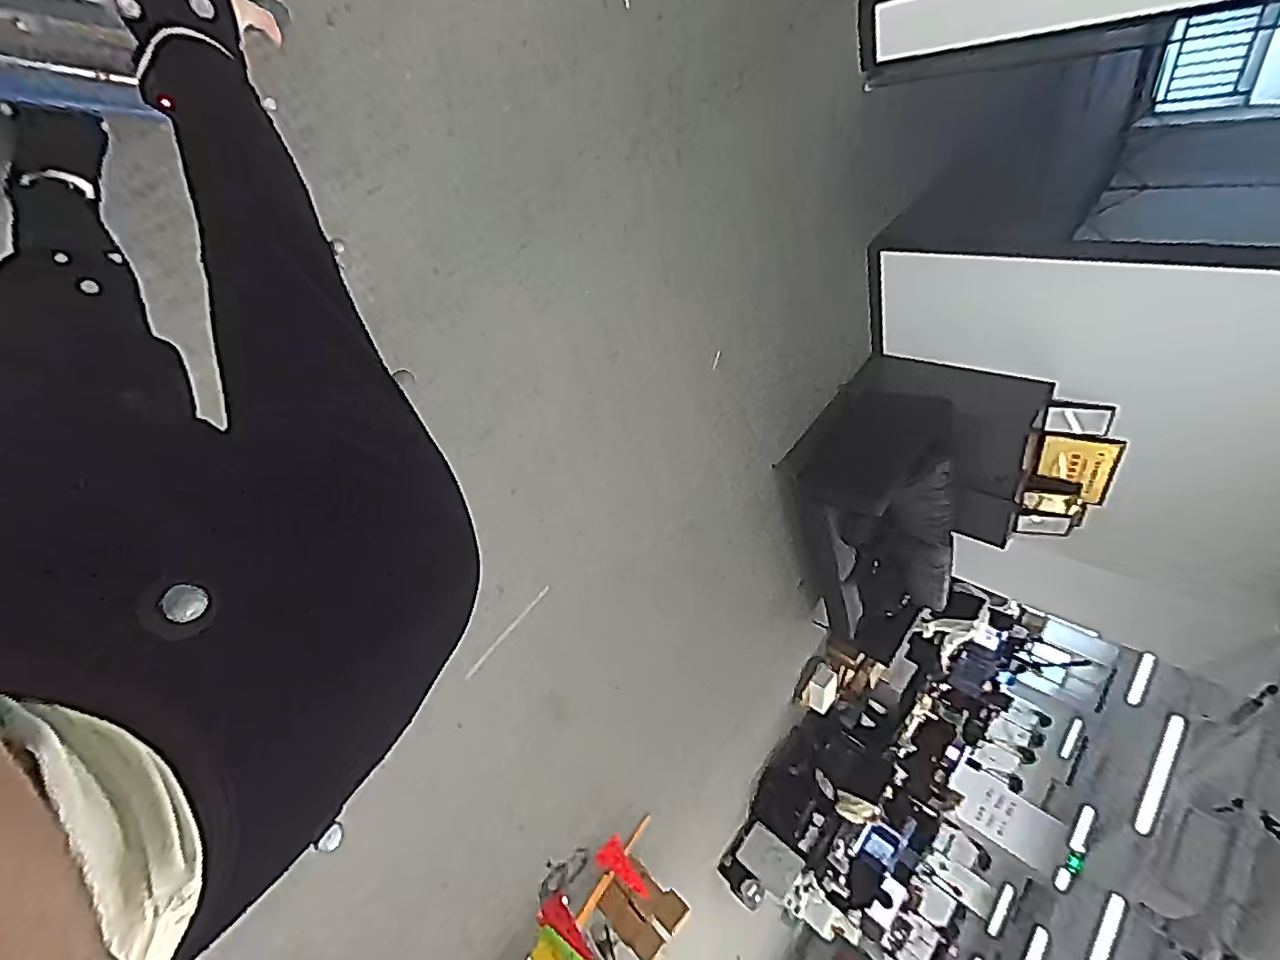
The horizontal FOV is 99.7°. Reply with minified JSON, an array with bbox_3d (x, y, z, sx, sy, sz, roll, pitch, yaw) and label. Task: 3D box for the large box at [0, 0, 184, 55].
[{"bbox_3d":[-0.853,-0.840,0.685,0.320,0.320,0.408,-21,123,-40],"label":"large box"}]
